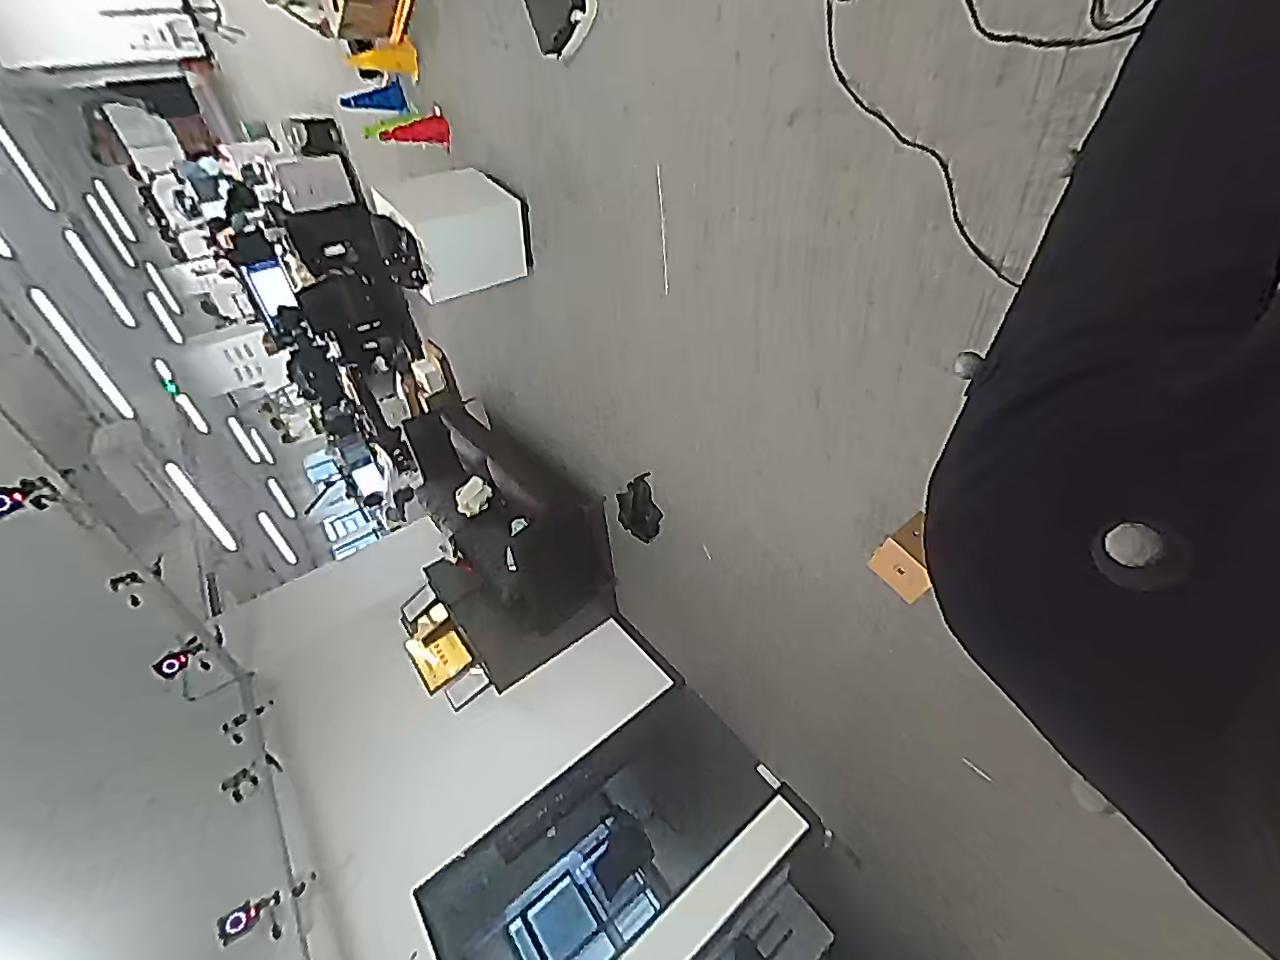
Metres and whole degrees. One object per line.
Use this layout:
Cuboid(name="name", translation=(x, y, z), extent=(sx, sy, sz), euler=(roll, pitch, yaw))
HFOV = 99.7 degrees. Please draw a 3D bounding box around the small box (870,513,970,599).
Cuboid(name="small box", translation=(0.853, 0.224, 1.650), extent=(0.179, 0.176, 0.168), euler=(46, 151, 26))
